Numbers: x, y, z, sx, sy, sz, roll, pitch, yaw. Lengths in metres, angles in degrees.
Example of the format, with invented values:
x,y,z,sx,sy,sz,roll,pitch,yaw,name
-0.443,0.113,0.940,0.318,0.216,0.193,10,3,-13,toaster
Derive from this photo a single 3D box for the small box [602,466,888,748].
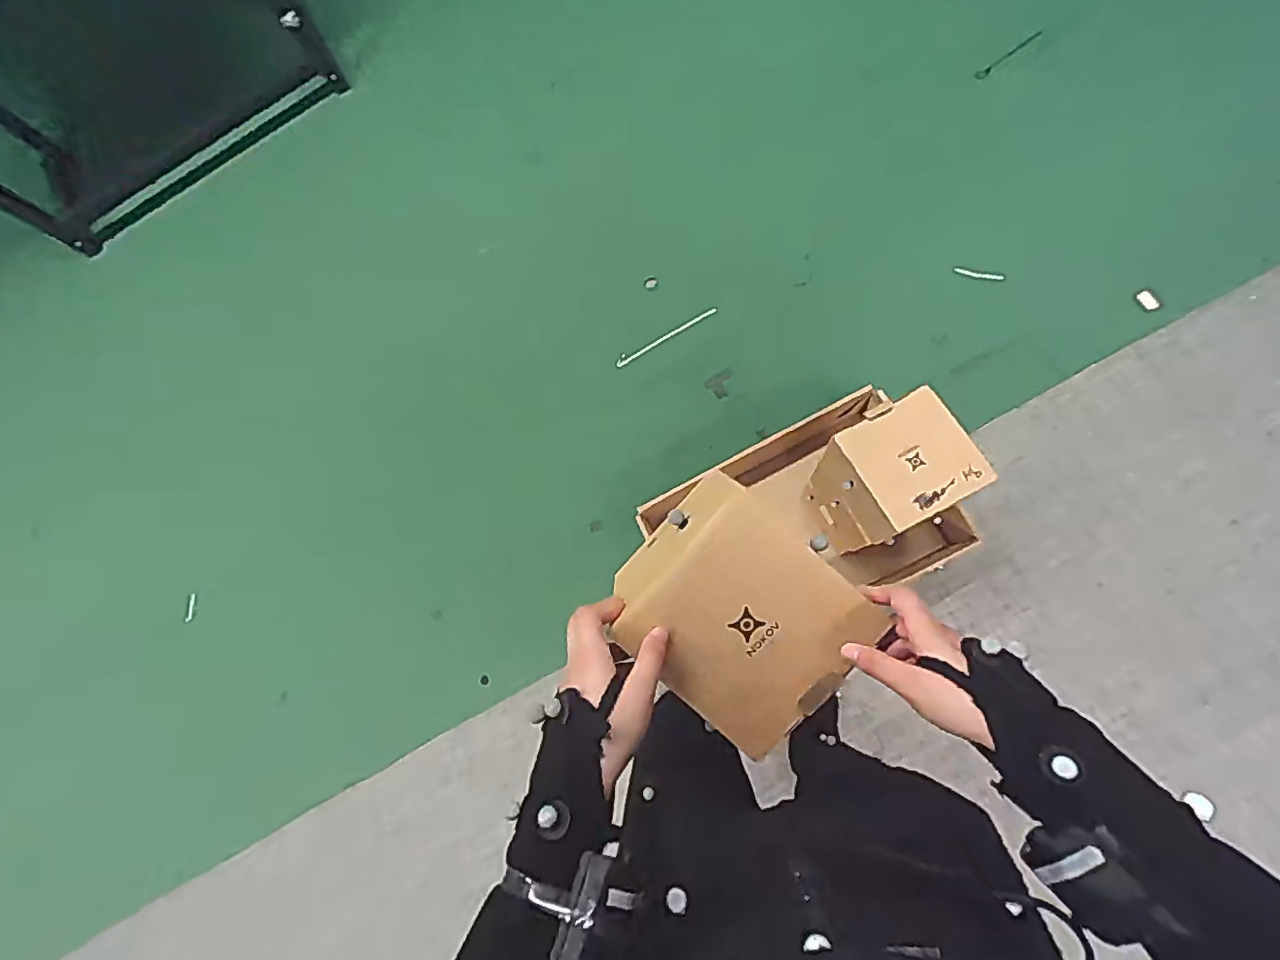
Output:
x,y,z,sx,sy,sz,roll,pitch,yaw,name
0.083,0.100,0.514,0.179,0.176,0.168,41,94,-5,small box

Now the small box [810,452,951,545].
x,y,z,sx,sy,sz,roll,pitch,yaw,name
0.445,0.011,1.035,0.168,0.176,0.179,-27,75,4,small box

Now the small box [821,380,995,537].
x,y,z,sx,sy,sz,roll,pitch,yaw,name
0.415,-0.025,0.877,0.168,0.176,0.179,-30,73,3,small box
